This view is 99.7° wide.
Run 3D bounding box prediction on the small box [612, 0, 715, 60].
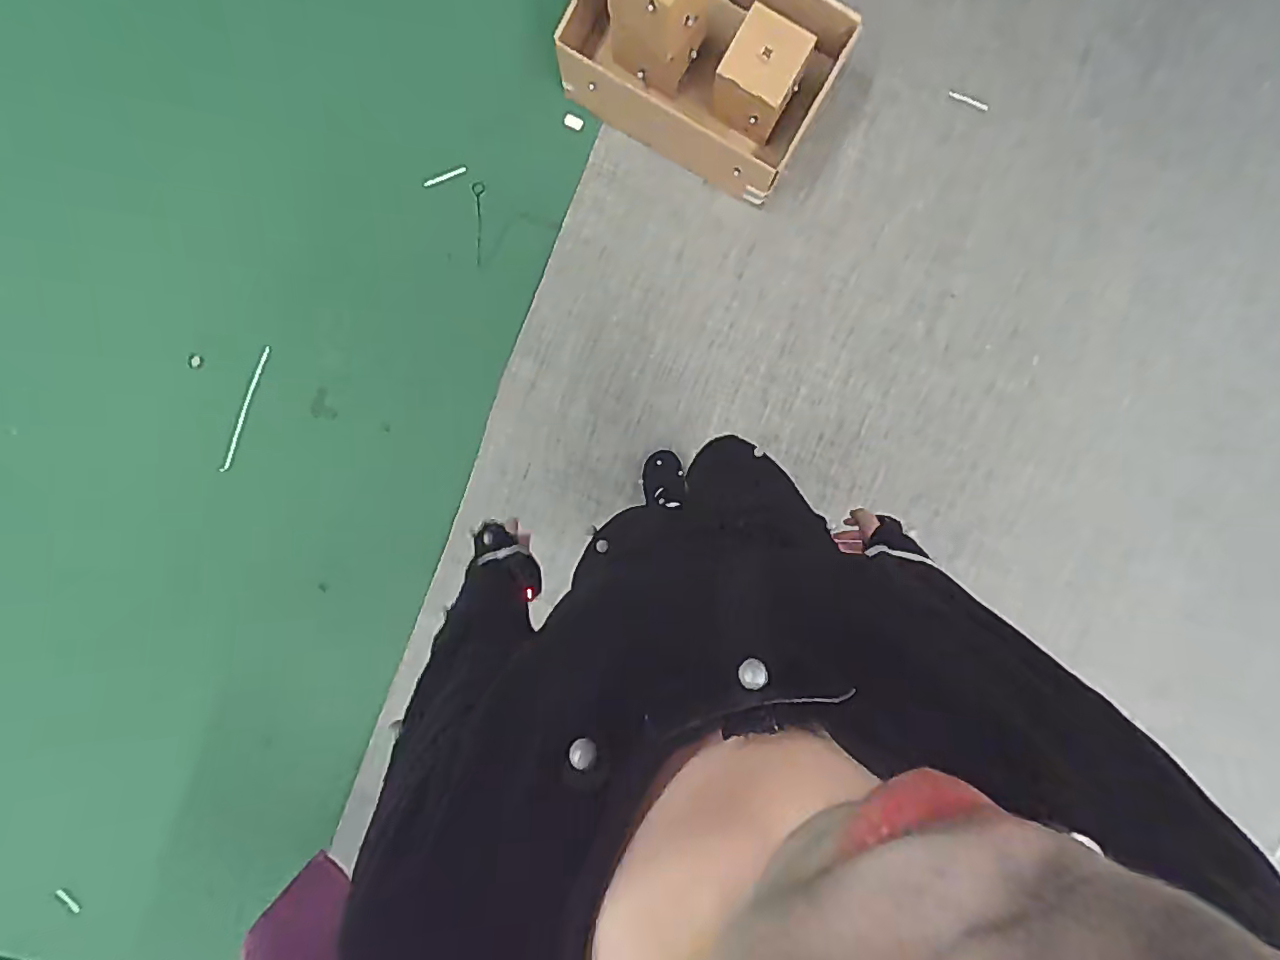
[{"bbox_3d":[0.050,-1.052,1.141,0.179,0.176,0.168,40,94,-3],"label":"small box"}]
